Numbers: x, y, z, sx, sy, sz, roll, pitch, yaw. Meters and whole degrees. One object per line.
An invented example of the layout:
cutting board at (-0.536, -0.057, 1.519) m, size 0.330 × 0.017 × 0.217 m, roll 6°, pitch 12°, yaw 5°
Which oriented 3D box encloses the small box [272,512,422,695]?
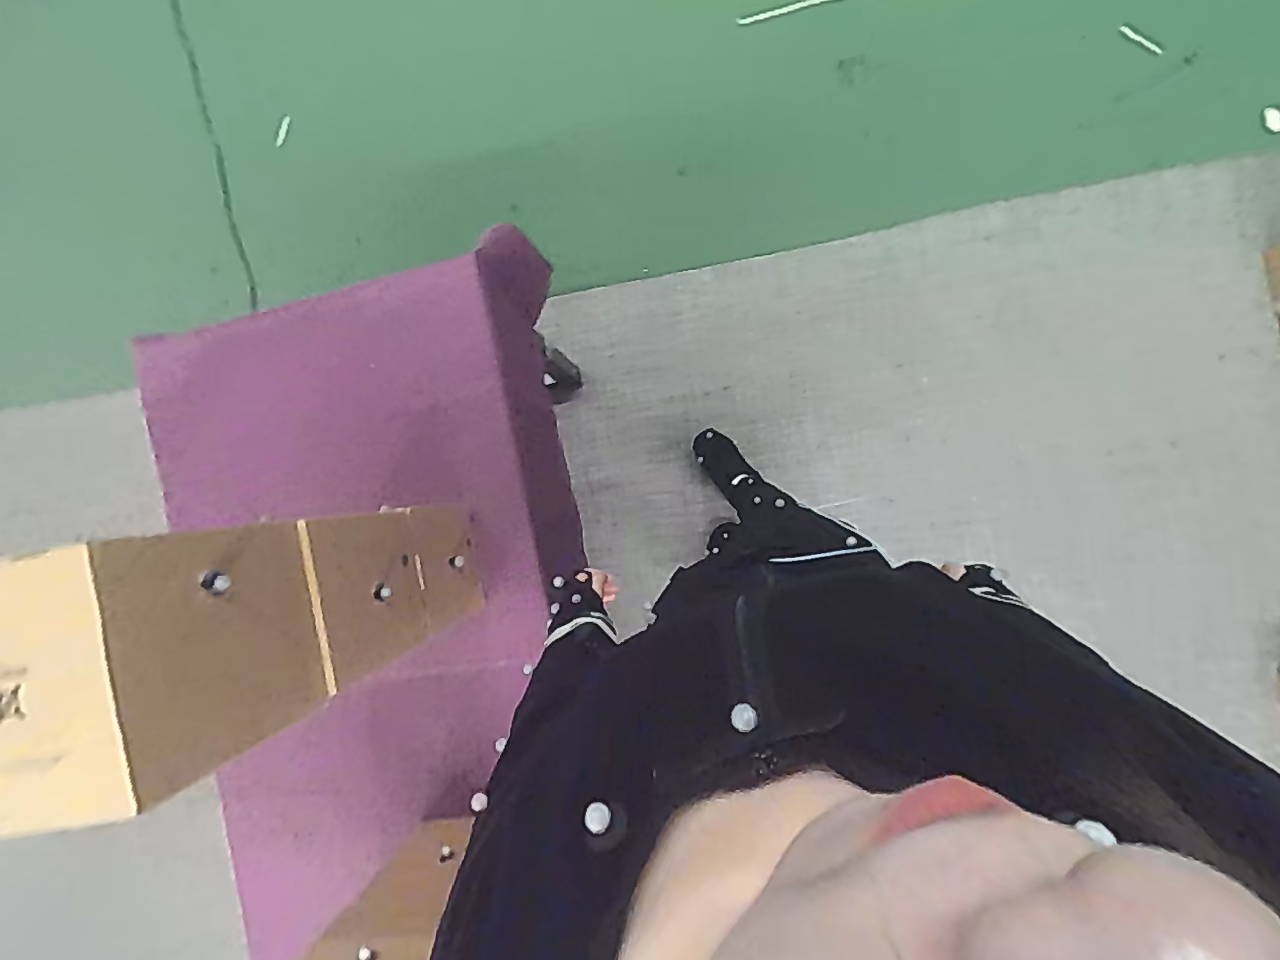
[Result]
small box at (-0.360, 0.132, 0.588) m, size 0.179 × 0.176 × 0.168 m, roll -12°, pitch 88°, yaw 7°

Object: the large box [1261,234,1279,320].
large box at (1.733, -0.488, 1.161) m, size 0.408 × 0.320 × 0.320 m, roll -11°, pitch 88°, yaw 6°

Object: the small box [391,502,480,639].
small box at (-0.339, 0.127, 0.752) m, size 0.179 × 0.176 × 0.168 m, roll -12°, pitch 89°, yaw 7°

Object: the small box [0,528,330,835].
small box at (-0.385, 0.138, 0.427) m, size 0.168 × 0.176 × 0.179 m, roll -12°, pitch 90°, yaw 9°
